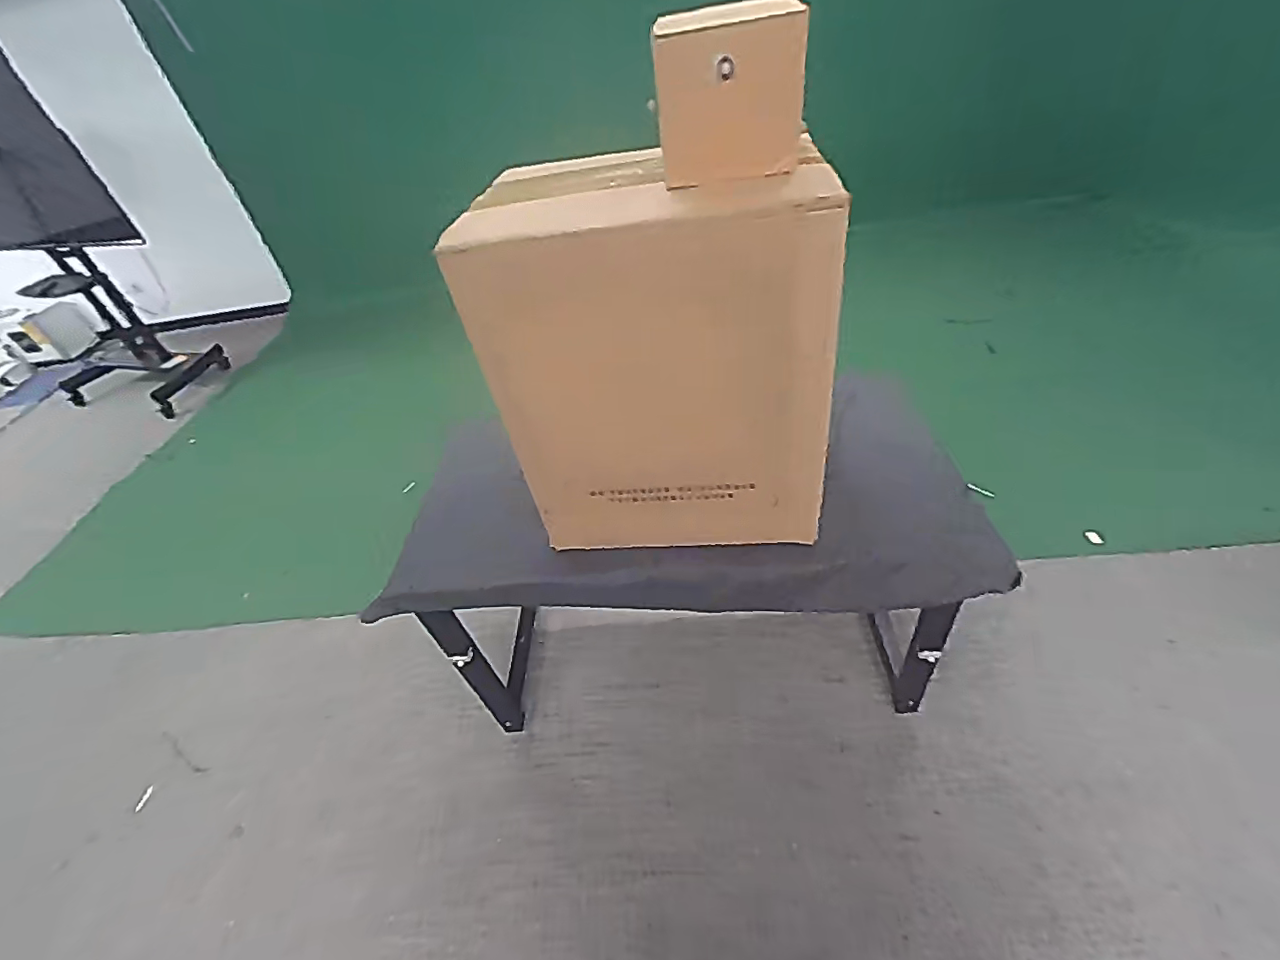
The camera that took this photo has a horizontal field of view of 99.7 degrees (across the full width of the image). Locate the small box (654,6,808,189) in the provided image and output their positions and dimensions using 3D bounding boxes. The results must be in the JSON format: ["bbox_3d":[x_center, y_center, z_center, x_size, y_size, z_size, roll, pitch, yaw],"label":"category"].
[{"bbox_3d":[0.117,-0.507,0.723,0.179,0.176,0.168,-2,46,7],"label":"small box"}]
